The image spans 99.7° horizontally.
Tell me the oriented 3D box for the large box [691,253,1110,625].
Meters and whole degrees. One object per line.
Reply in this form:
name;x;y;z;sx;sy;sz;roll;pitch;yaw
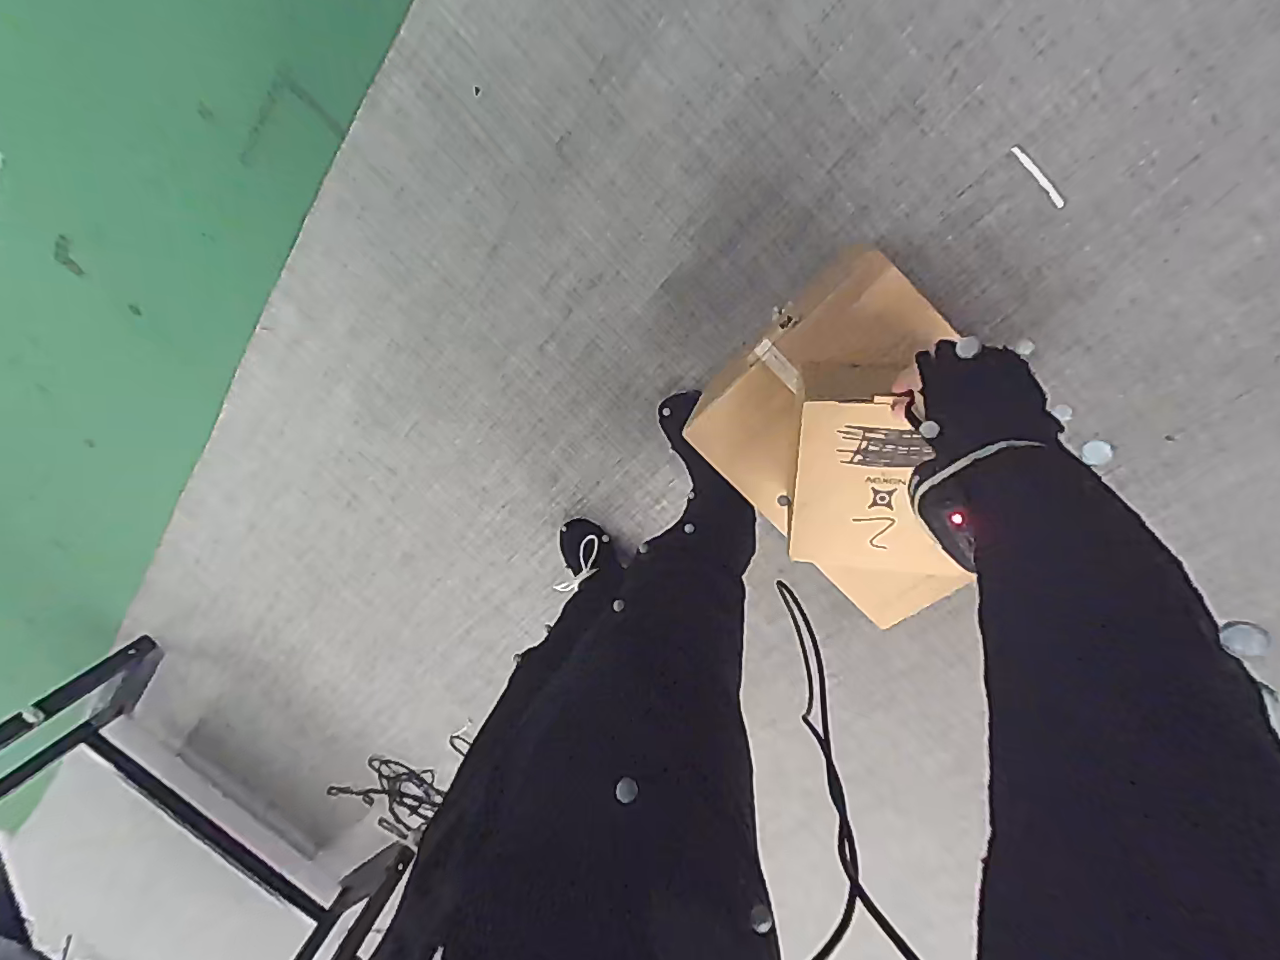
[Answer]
large box;0.339;-0.079;0.805;0.408;0.320;0.320;43;118;-7
